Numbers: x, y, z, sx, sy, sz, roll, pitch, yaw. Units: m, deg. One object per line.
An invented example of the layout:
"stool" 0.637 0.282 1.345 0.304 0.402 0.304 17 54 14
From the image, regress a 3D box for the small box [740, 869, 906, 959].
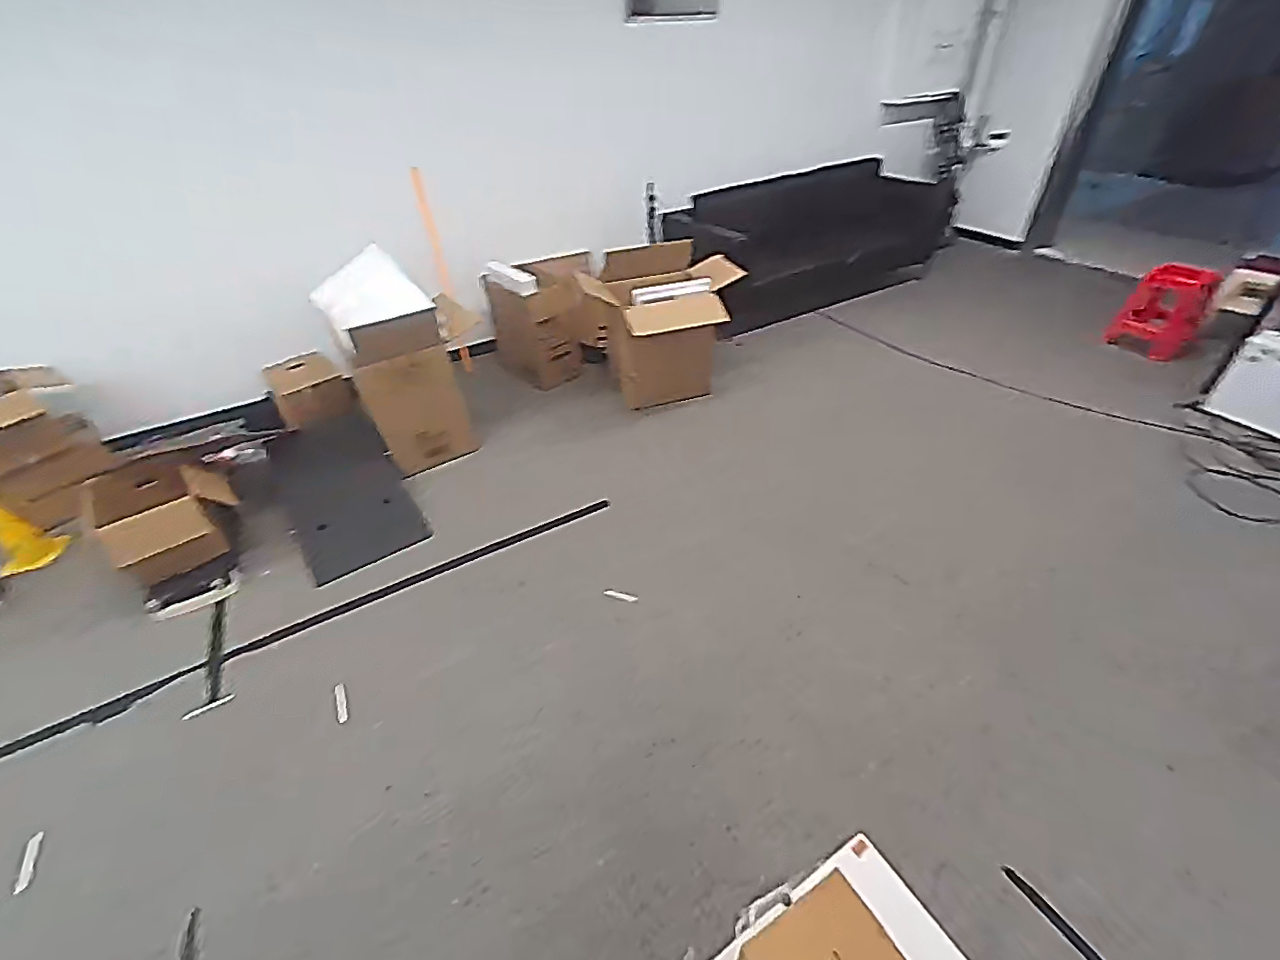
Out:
"small box" 0.249 0.681 0.724 0.179 0.176 0.168 -21 42 -22
